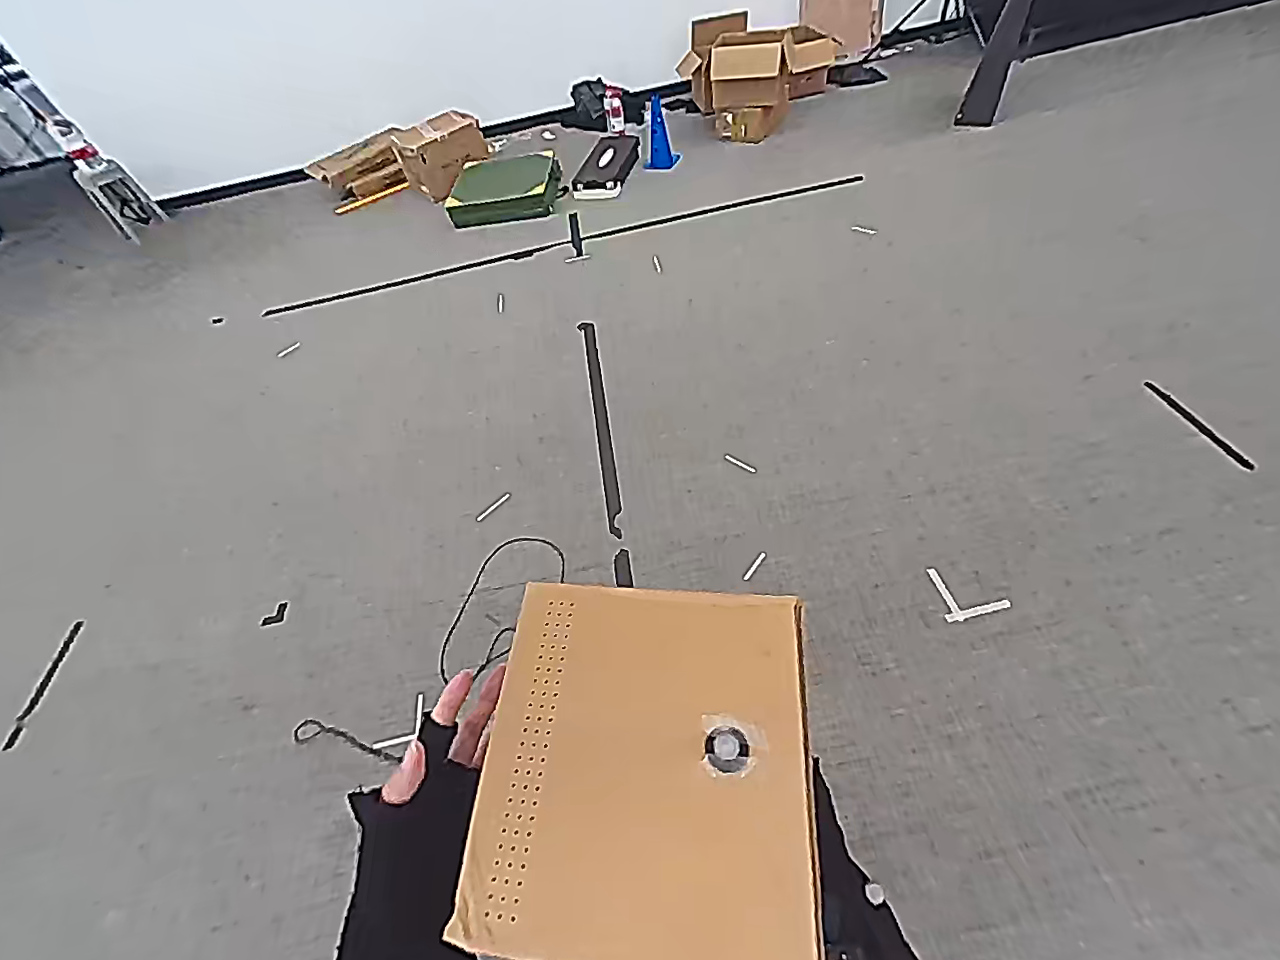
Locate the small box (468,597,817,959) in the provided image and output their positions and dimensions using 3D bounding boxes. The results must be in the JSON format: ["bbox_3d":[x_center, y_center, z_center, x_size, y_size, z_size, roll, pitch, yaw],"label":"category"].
[{"bbox_3d":[0.010,0.187,0.350,0.176,0.168,0.179,1,56,10],"label":"small box"}]
